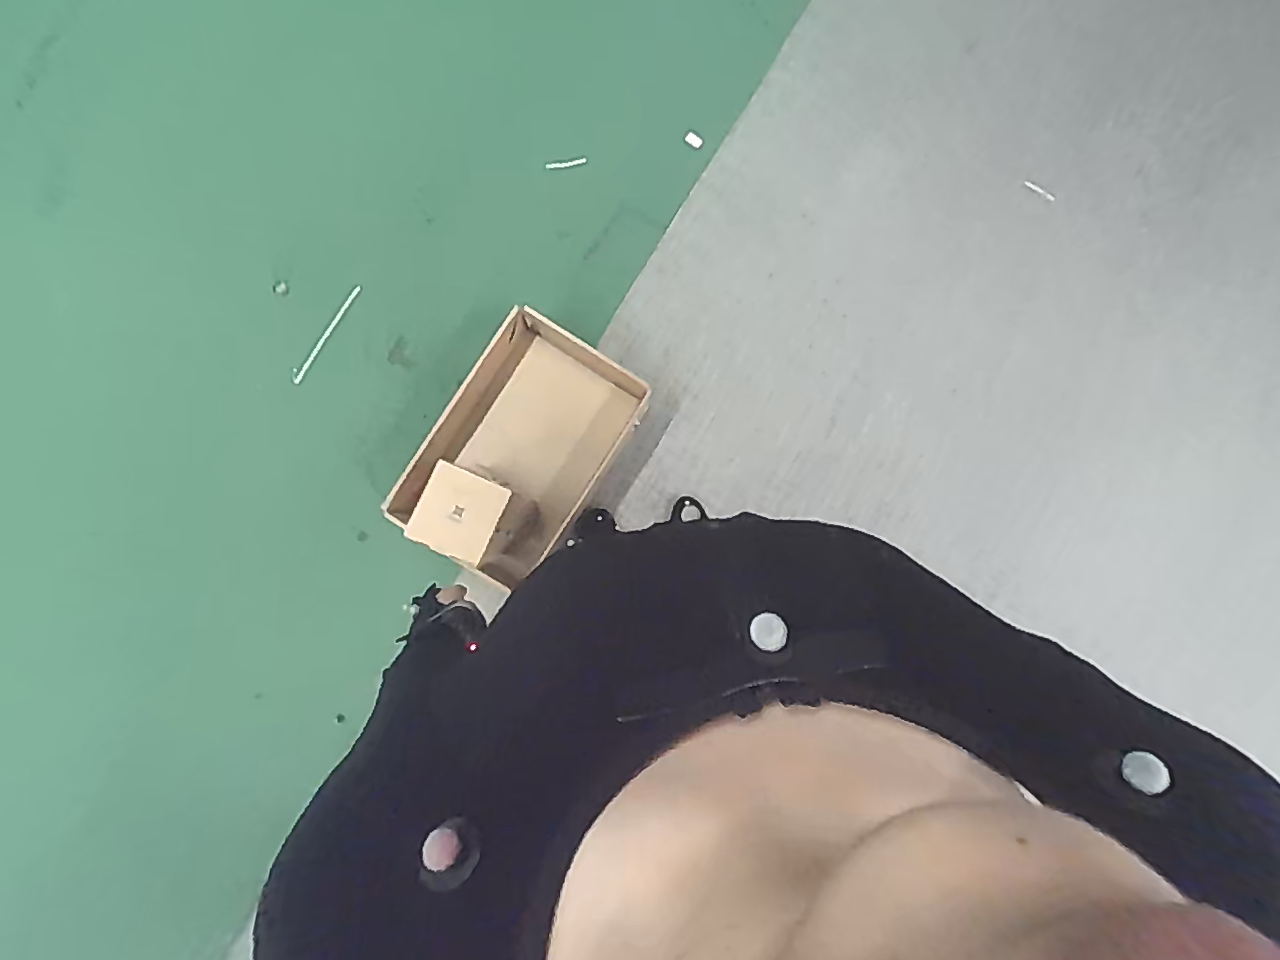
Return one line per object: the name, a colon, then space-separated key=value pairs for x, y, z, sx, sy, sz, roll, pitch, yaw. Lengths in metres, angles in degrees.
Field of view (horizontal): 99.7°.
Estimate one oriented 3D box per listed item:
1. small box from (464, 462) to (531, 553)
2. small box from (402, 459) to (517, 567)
small box: x=-0.387 y=0.075 z=1.338 sx=0.168 sy=0.176 sz=0.179 roll=33 pitch=86 yaw=-2
small box: x=-0.379 y=0.072 z=1.174 sx=0.168 sy=0.176 sz=0.179 roll=23 pitch=84 yaw=-4
